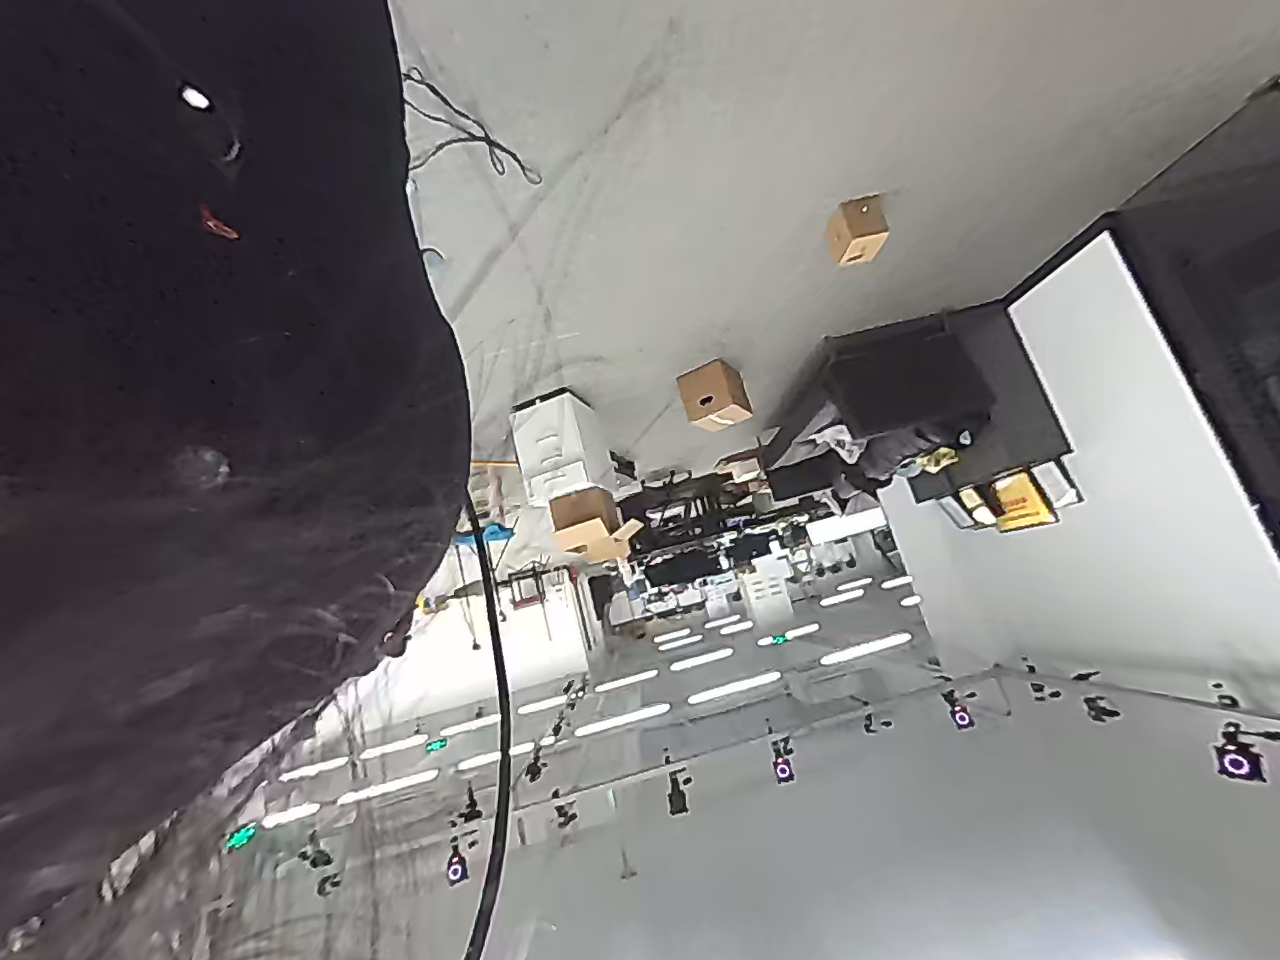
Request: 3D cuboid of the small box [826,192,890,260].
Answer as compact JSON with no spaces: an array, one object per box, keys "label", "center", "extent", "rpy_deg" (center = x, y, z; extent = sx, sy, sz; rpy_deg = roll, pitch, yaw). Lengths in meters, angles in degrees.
[{"label":"small box","center":[0.886,-1.044,2.221],"extent":[0.168,0.176,0.179],"rpy_deg":[-14,168,-5]}]
